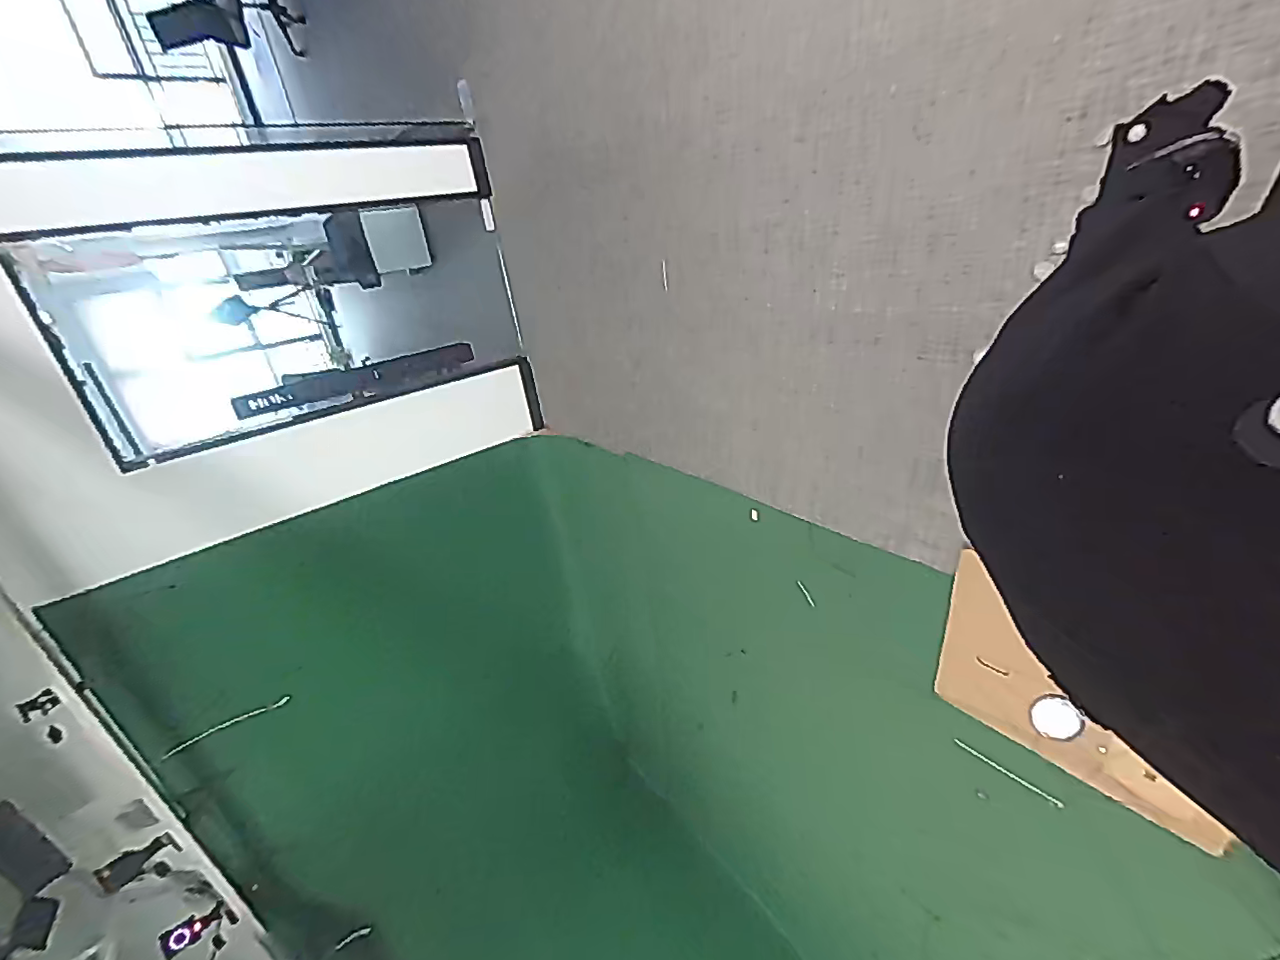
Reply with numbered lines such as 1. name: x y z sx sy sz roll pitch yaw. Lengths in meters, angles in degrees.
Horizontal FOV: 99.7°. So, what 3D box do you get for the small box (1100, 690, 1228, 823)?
1. small box: 1.223 0.636 1.263 0.168 0.176 0.179 23 129 47
